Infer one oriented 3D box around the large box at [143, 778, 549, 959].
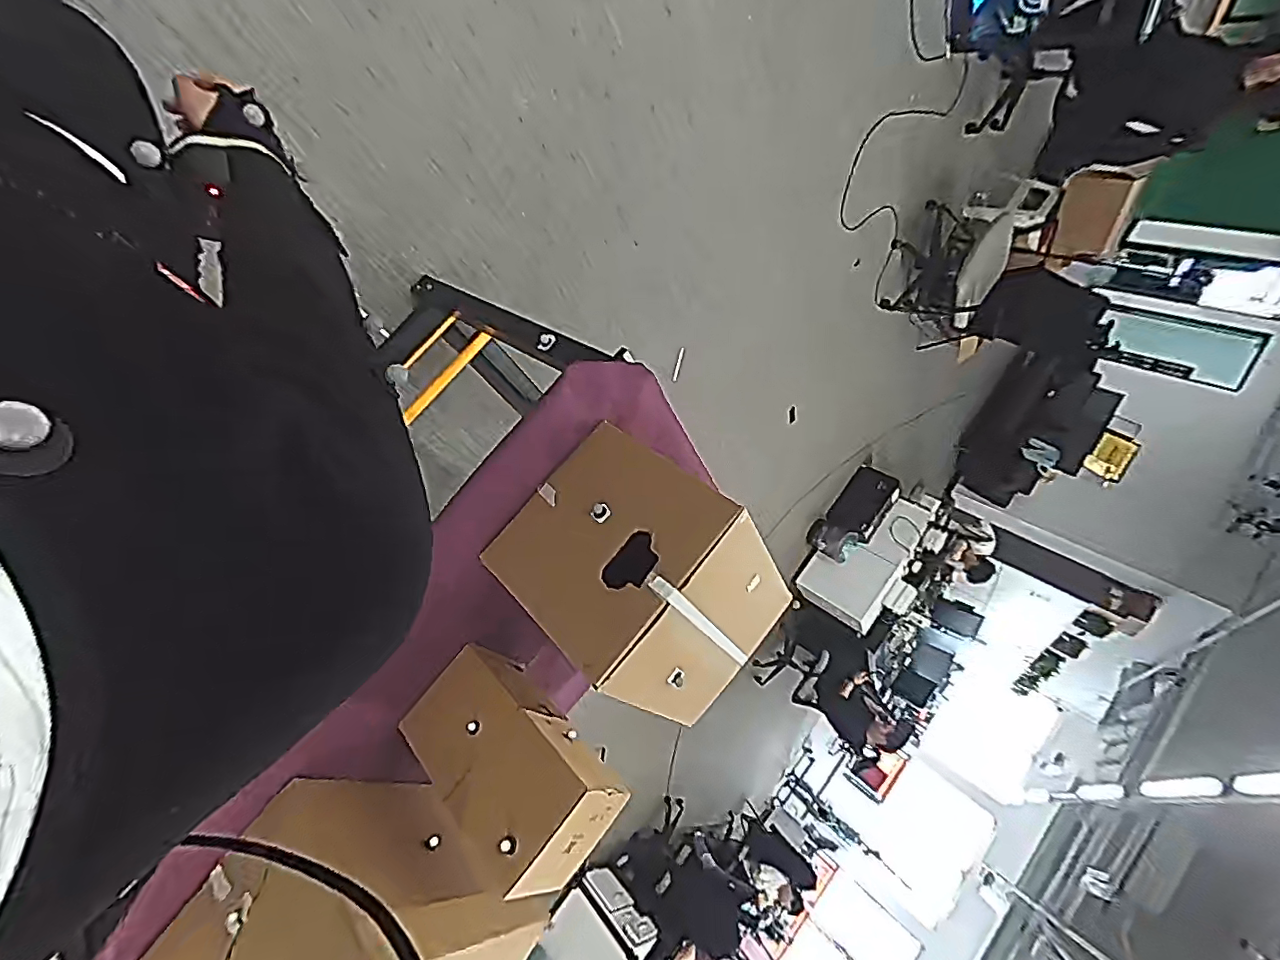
[{"bbox_3d":[-0.427,0.702,0.834,0.320,0.320,0.408,-51,145,-9],"label":"large box"}]
